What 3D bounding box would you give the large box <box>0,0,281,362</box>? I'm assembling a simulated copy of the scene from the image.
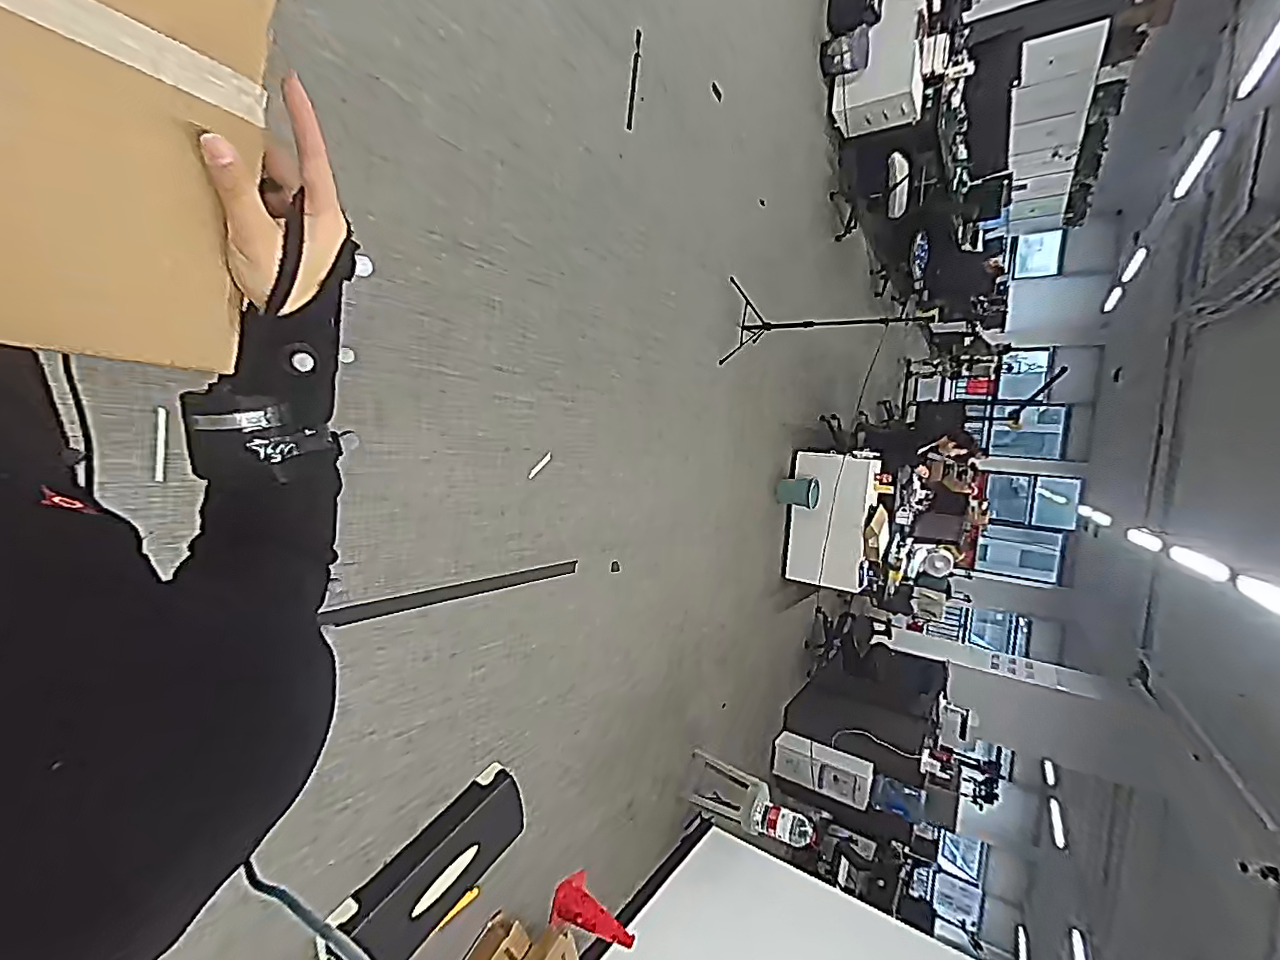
[{"bbox_3d":[-0.459,-0.260,0.250,0.408,0.320,0.320,0,108,-55],"label":"large box"}]
